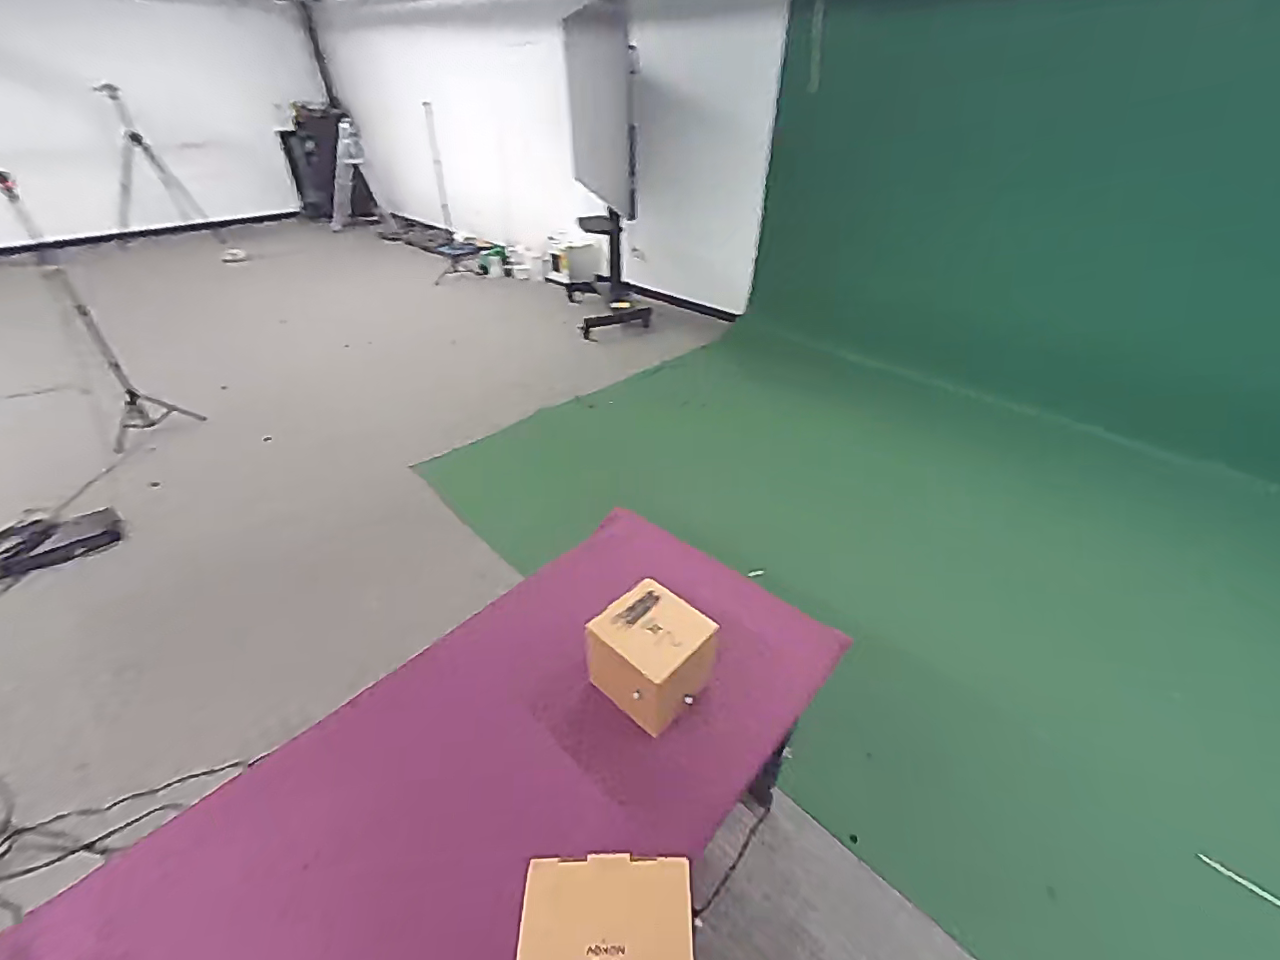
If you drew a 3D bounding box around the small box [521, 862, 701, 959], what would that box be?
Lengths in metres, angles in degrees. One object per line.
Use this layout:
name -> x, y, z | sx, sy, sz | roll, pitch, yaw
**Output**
small box -> -0.026, 0.502, 0.529 | 0.168, 0.176, 0.179 | 0, 42, 2
